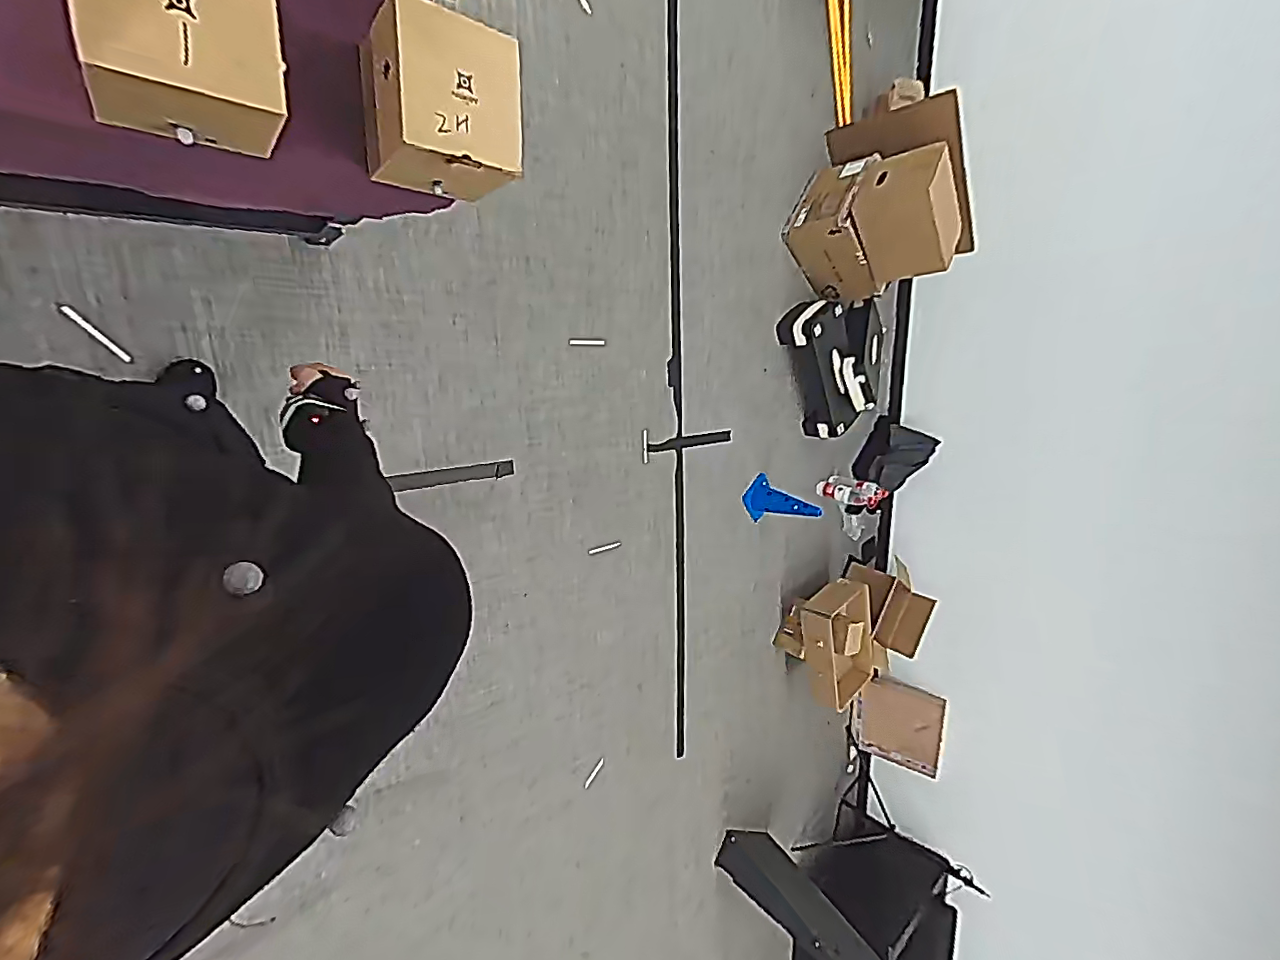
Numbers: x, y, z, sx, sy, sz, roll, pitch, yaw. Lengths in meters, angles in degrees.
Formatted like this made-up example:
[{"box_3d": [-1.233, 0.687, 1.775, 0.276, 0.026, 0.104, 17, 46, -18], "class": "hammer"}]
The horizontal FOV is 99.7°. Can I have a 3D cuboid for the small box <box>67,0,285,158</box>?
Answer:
[{"box_3d": [-0.504, -0.486, 0.589, 0.168, 0.176, 0.179, -8, 105, -39], "class": "small box"}]

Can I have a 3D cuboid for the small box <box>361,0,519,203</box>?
[{"box_3d": [-0.285, -0.521, 0.768, 0.168, 0.176, 0.179, -7, 103, -39], "class": "small box"}]
